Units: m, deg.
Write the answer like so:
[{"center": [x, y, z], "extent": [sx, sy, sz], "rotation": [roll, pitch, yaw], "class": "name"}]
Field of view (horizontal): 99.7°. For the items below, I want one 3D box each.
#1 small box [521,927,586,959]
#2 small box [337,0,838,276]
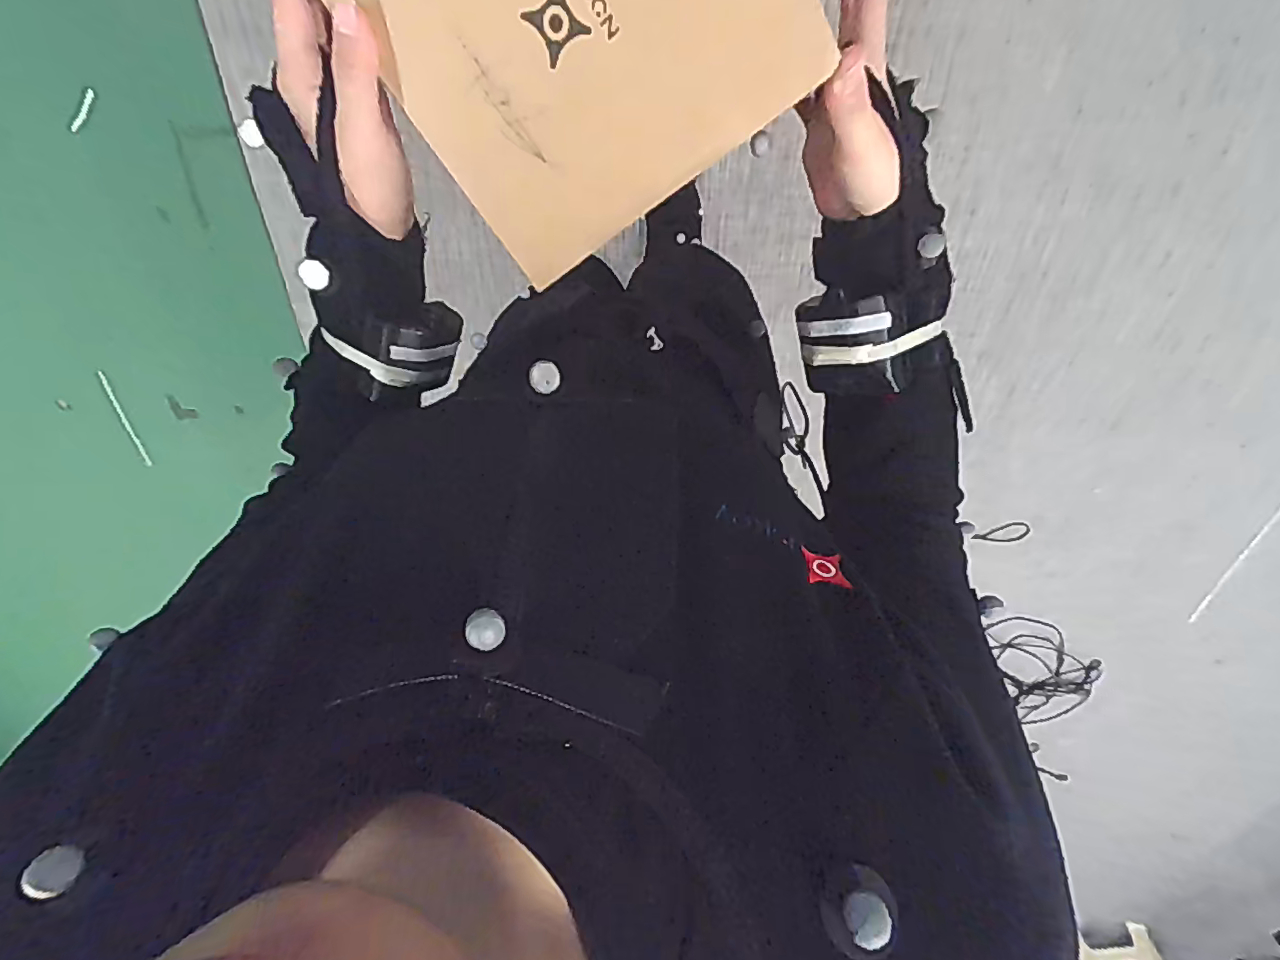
[{"center": [-0.246, 1.381, 1.497], "extent": [0.168, 0.176, 0.179], "rotation": [5, 123, 4], "class": "small box"}, {"center": [-0.016, -0.249, 0.294], "extent": [0.179, 0.176, 0.168], "rotation": [-25, 116, 28], "class": "small box"}]
